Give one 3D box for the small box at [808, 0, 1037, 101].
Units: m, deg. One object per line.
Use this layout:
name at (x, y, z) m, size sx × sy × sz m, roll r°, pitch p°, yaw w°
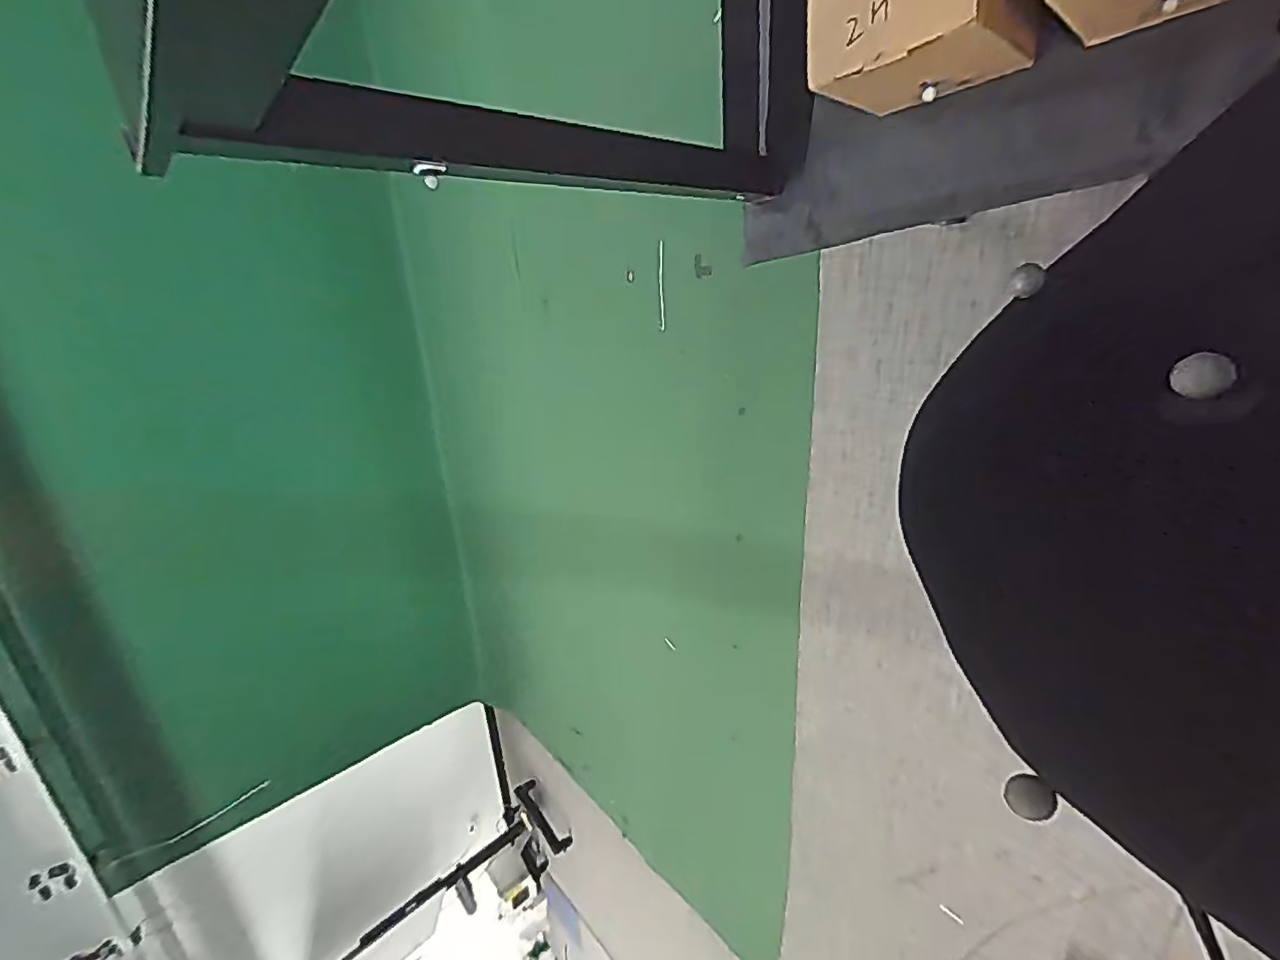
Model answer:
small box at (0.289, -0.521, 0.546) m, size 0.168 × 0.176 × 0.179 m, roll 14°, pitch 116°, yaw 47°
